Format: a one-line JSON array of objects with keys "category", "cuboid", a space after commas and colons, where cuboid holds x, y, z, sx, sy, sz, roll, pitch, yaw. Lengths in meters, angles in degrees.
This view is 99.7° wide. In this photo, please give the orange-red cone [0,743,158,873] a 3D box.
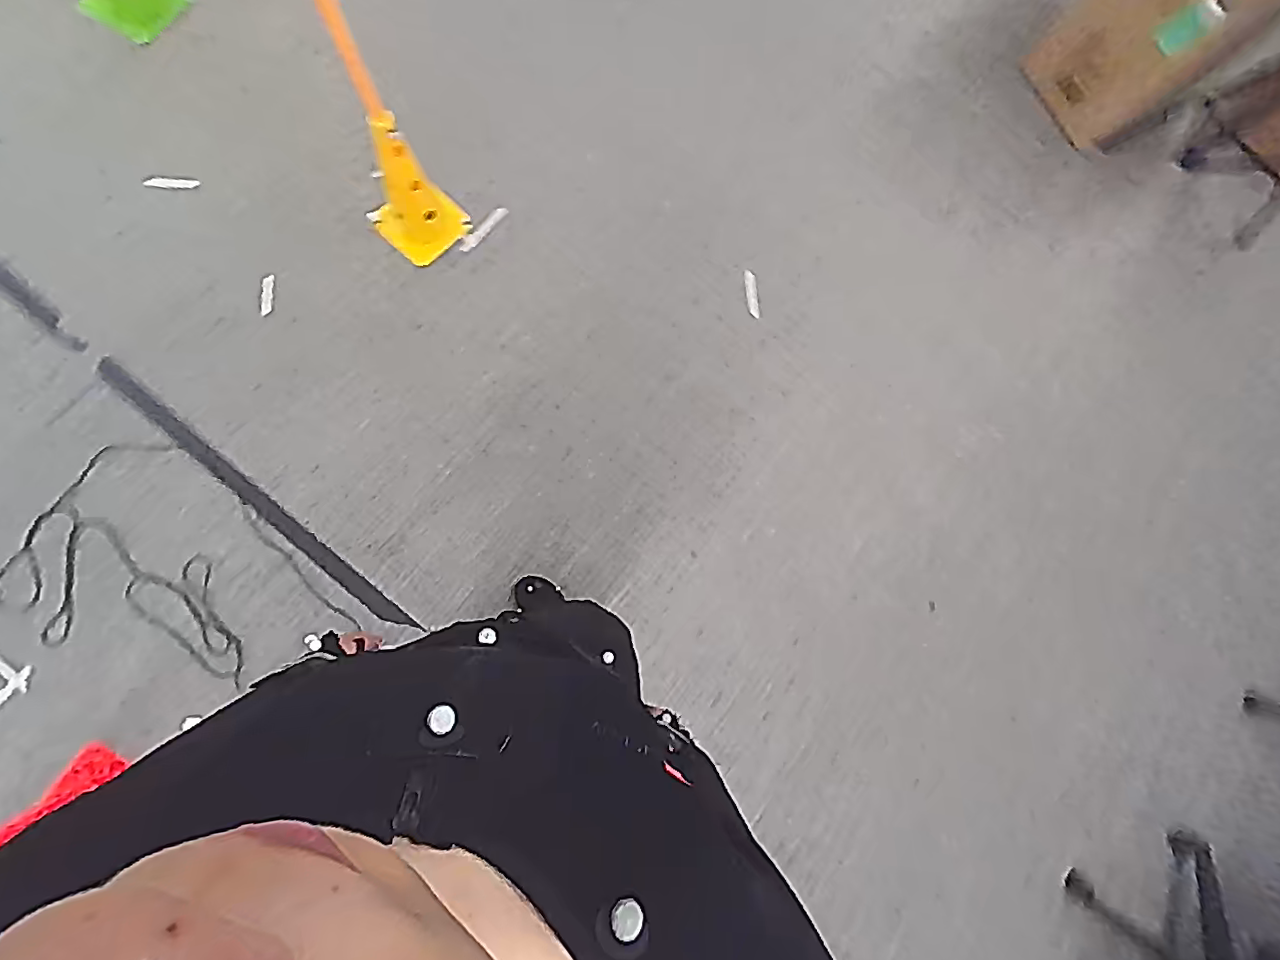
[{"category": "orange-red cone", "cuboid": [-1.149, 0.666, 0.991, 0.198, 0.360, 0.199, 36, 76, -1]}]

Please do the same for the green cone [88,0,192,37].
[{"category": "green cone", "cuboid": [-1.332, -1.343, 1.304, 0.202, 0.368, 0.200, 31, 78, -4]}]
